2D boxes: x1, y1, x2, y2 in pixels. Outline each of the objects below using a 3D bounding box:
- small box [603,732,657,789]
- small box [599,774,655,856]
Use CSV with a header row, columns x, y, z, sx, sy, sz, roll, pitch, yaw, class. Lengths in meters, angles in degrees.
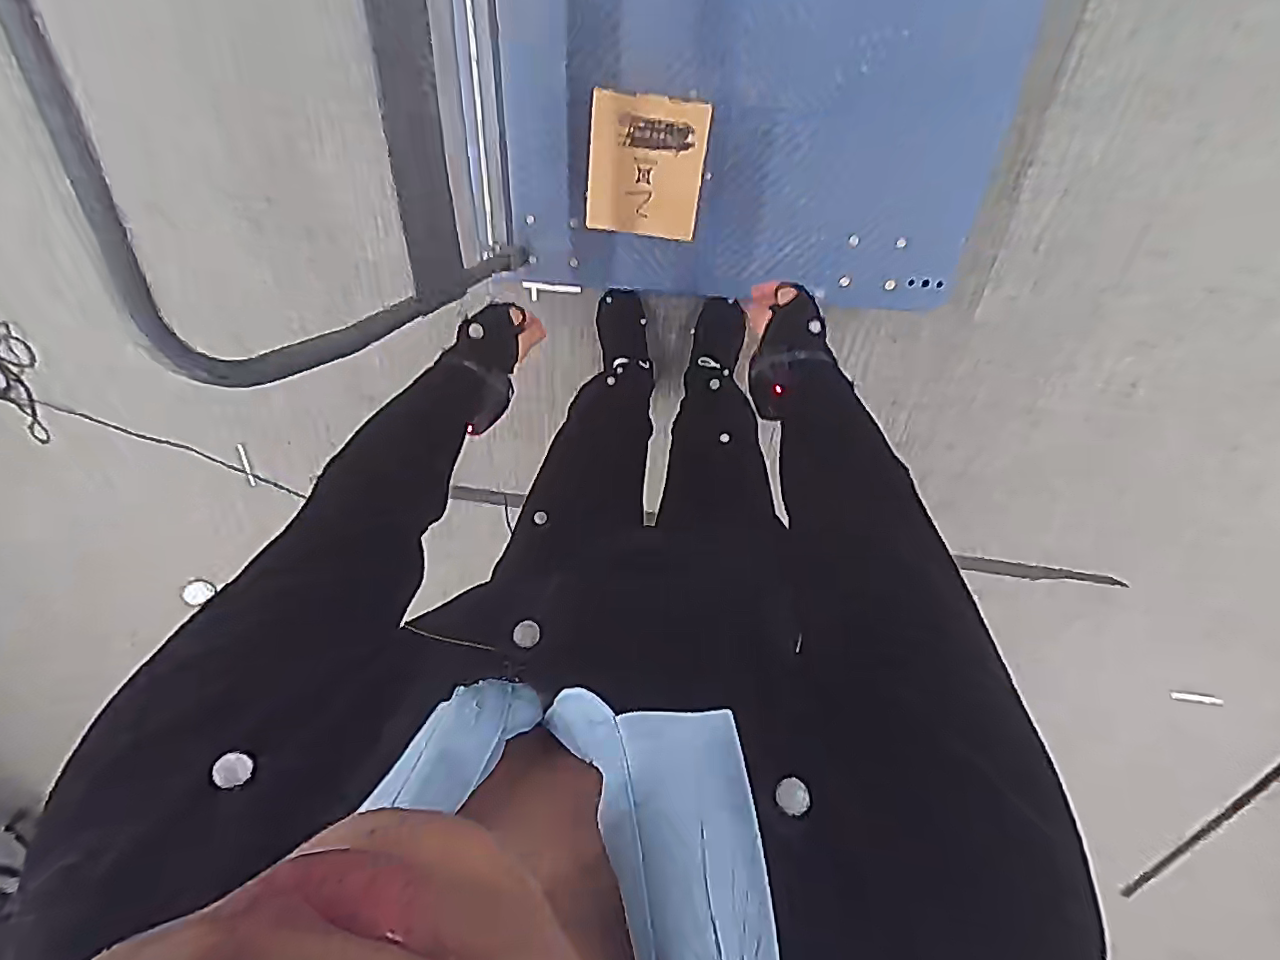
x,y,z,sx,sy,sz,roll,pitch,yaw,class
-0.032,1.067,2.005,0.168,0.176,0.179,-4,120,8,small box
-0.042,1.157,1.870,0.168,0.176,0.179,7,121,2,small box
